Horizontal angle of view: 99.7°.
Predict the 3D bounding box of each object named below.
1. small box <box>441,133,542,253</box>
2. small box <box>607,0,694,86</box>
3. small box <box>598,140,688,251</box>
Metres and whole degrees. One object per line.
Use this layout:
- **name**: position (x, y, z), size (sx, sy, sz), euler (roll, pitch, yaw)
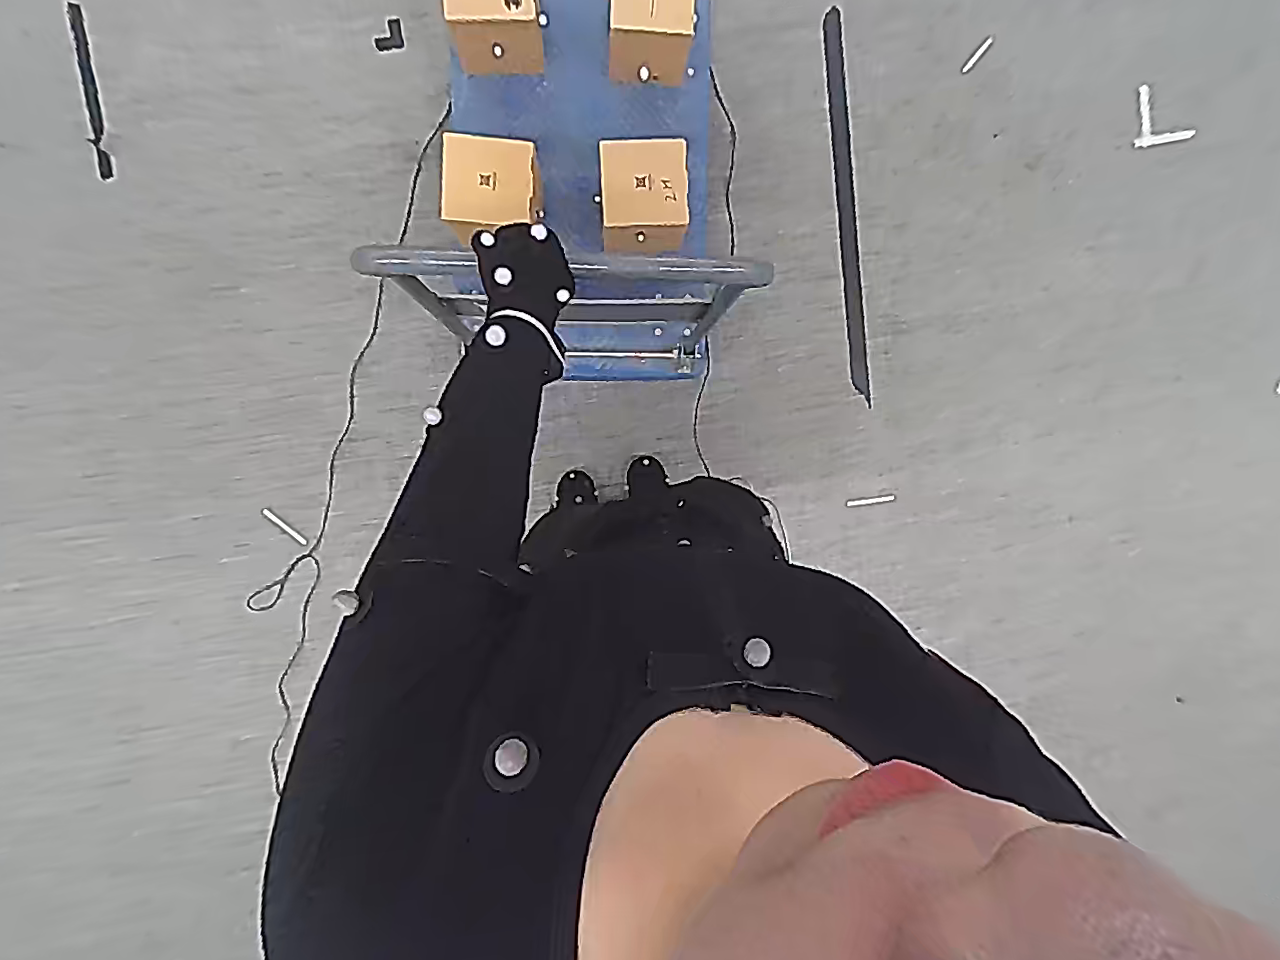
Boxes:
- **small box**: position (-0.306, -0.593, 1.139), size (0.179, 0.176, 0.168), euler (3, 95, -6)
- **small box**: position (0.018, -0.967, 1.123), size (0.168, 0.176, 0.179), euler (2, 97, -4)
- **small box**: position (0.003, -0.600, 1.159), size (0.179, 0.176, 0.168), euler (-3, 96, -3)
